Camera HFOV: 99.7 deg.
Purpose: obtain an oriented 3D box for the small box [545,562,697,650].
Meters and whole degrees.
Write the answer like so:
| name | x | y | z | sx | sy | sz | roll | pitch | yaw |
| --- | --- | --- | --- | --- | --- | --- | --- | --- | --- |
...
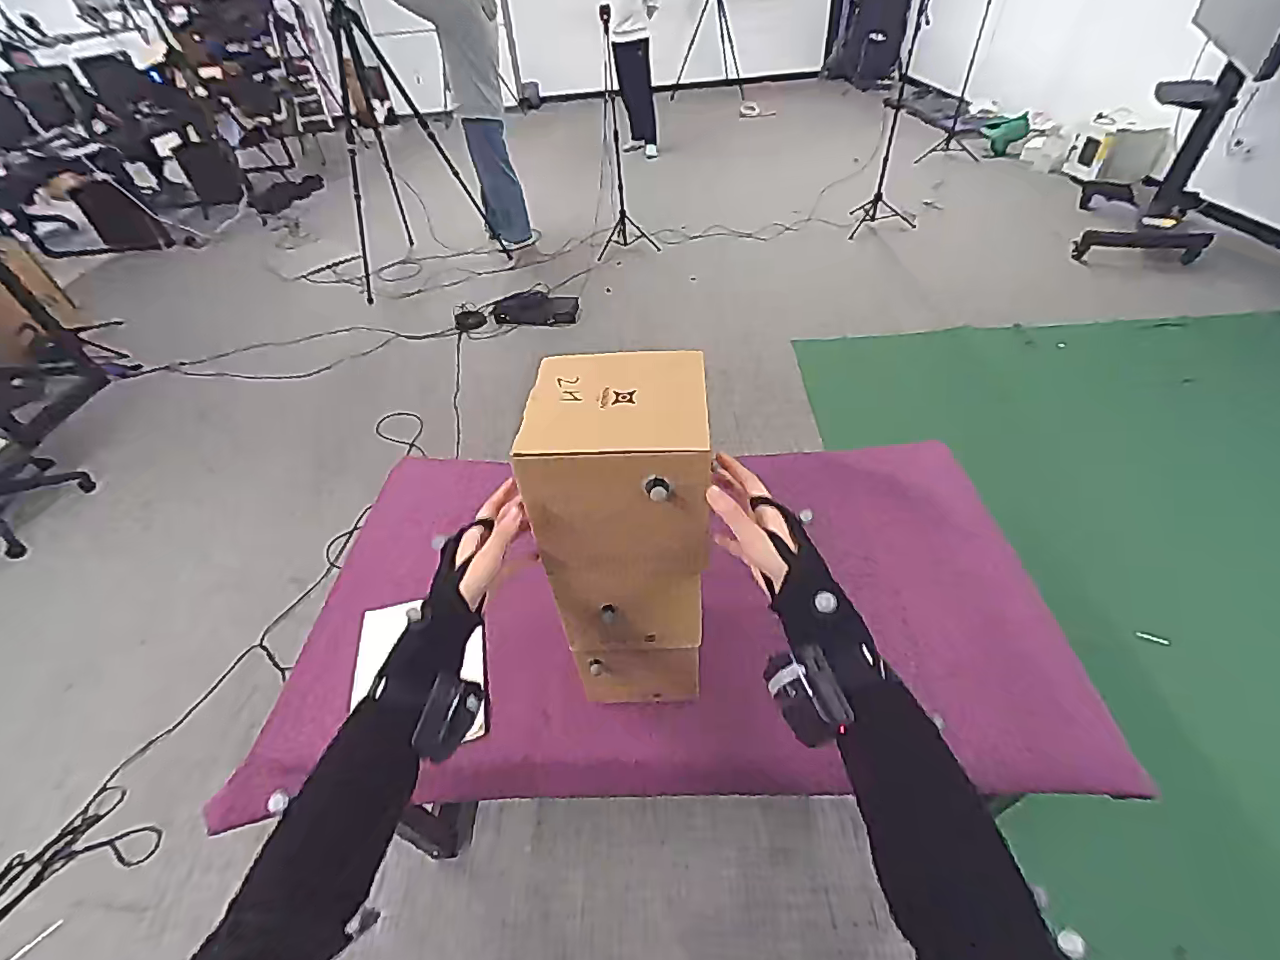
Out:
| name | x | y | z | sx | sy | sz | roll | pitch | yaw |
| --- | --- | --- | --- | --- | --- | --- | --- | --- | --- |
| small box | -0.014 | 0.103 | 0.690 | 0.168 | 0.176 | 0.179 | -2 | 42 | 3 |

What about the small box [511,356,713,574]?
| name | x | y | z | sx | sy | sz | roll | pitch | yaw |
| --- | --- | --- | --- | --- | --- | --- | --- | --- | --- |
| small box | -0.016 | -0.014 | 0.572 | 0.179 | 0.176 | 0.168 | -1 | 42 | 5 |
